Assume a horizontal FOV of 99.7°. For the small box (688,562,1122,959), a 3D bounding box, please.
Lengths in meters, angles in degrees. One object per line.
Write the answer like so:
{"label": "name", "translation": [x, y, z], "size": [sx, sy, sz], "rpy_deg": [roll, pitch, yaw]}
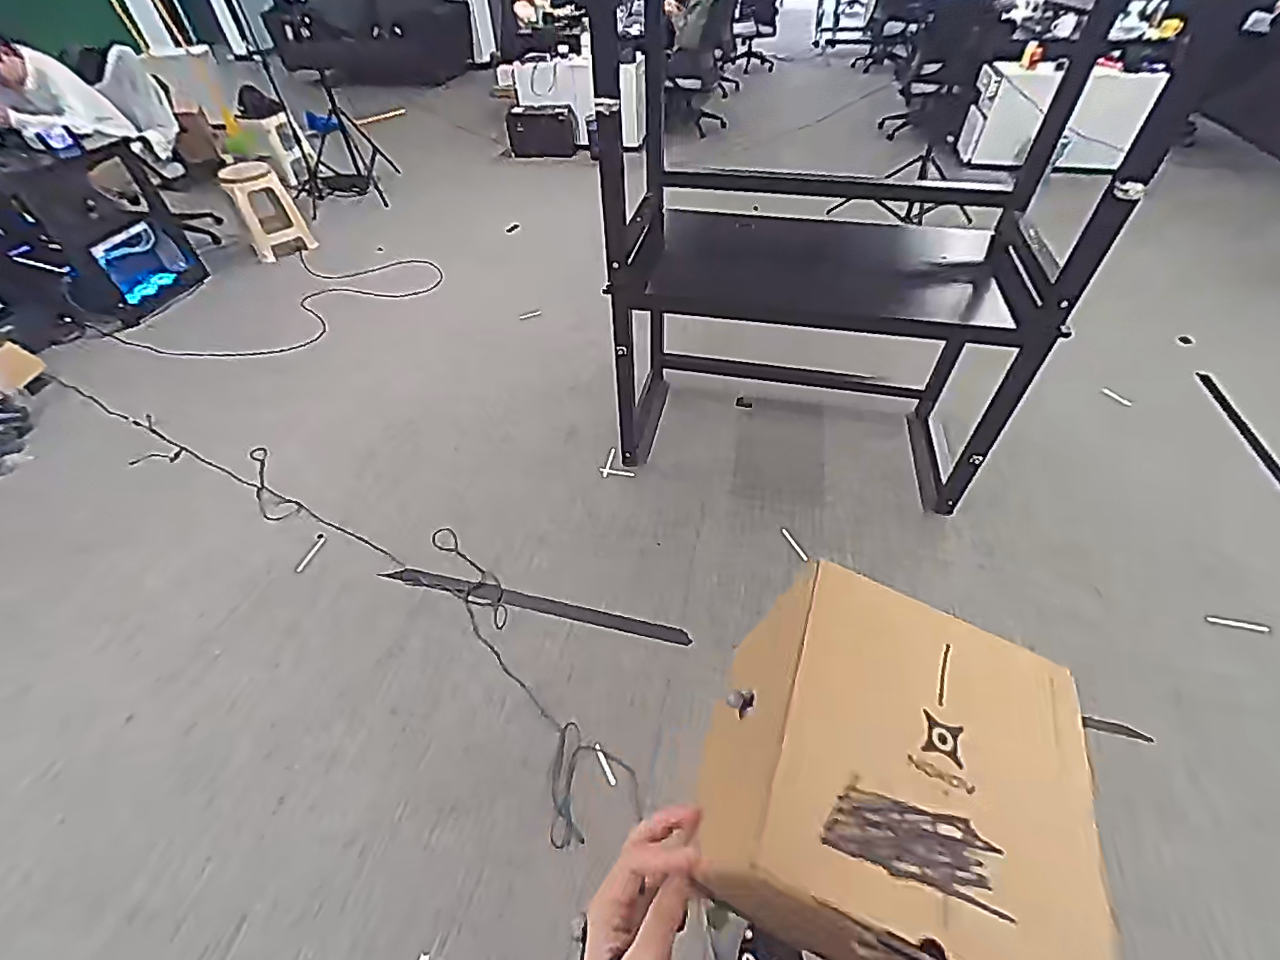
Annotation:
{"label": "small box", "translation": [0.141, 0.190, 0.341], "size": [0.168, 0.176, 0.179], "rpy_deg": [23, 51, 4]}
